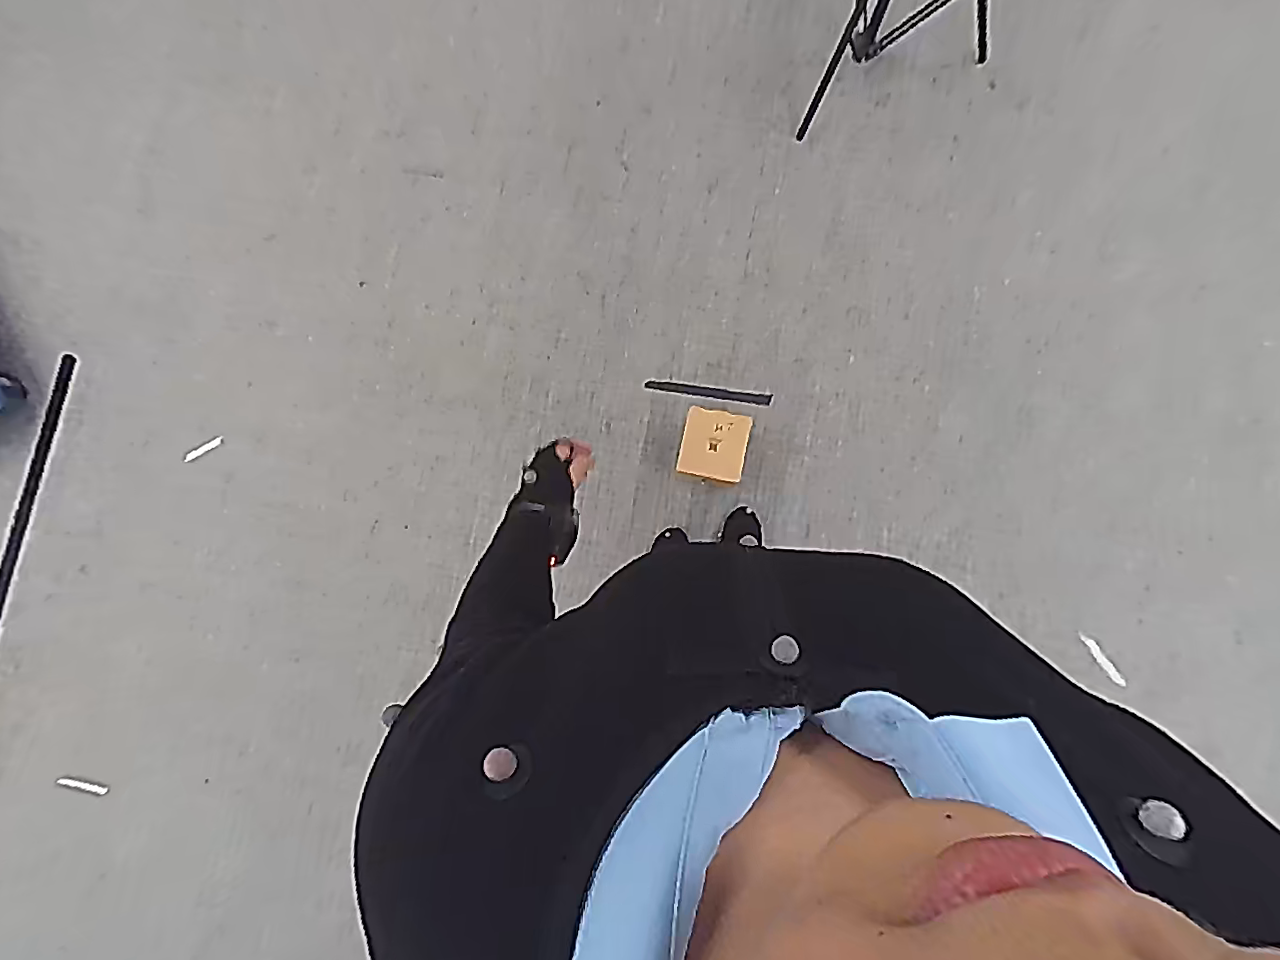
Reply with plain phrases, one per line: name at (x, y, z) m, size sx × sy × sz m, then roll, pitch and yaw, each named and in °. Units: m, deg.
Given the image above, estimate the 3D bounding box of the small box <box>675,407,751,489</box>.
small box at (0.194, -0.078, 1.455) m, size 0.168 × 0.176 × 0.179 m, roll 12°, pitch 84°, yaw 5°
